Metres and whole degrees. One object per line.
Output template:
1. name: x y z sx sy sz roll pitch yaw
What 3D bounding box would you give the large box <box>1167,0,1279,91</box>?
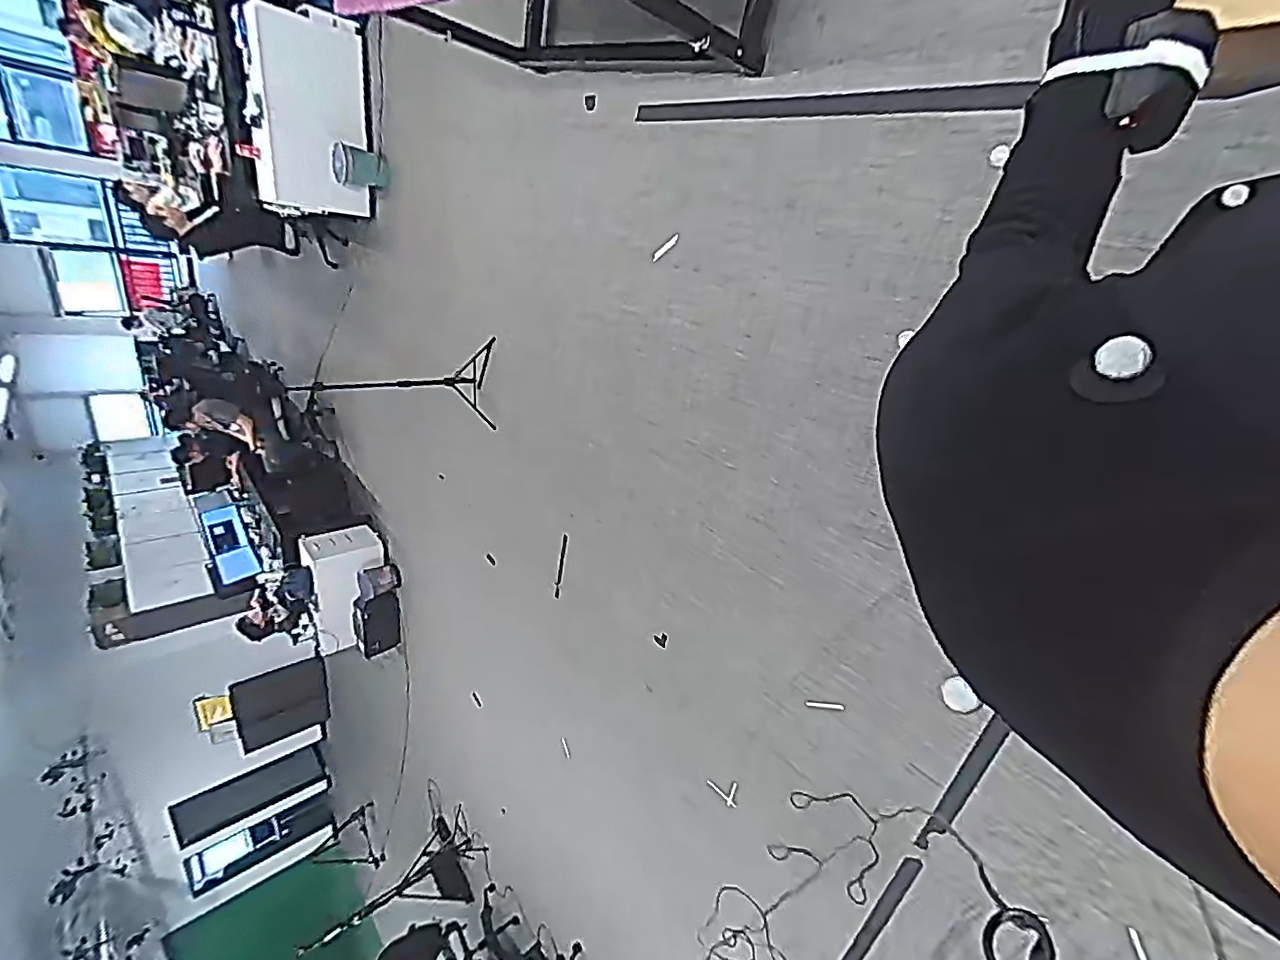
1. large box: 0.610 -0.431 0.284 0.408 0.320 0.320 24 128 38
